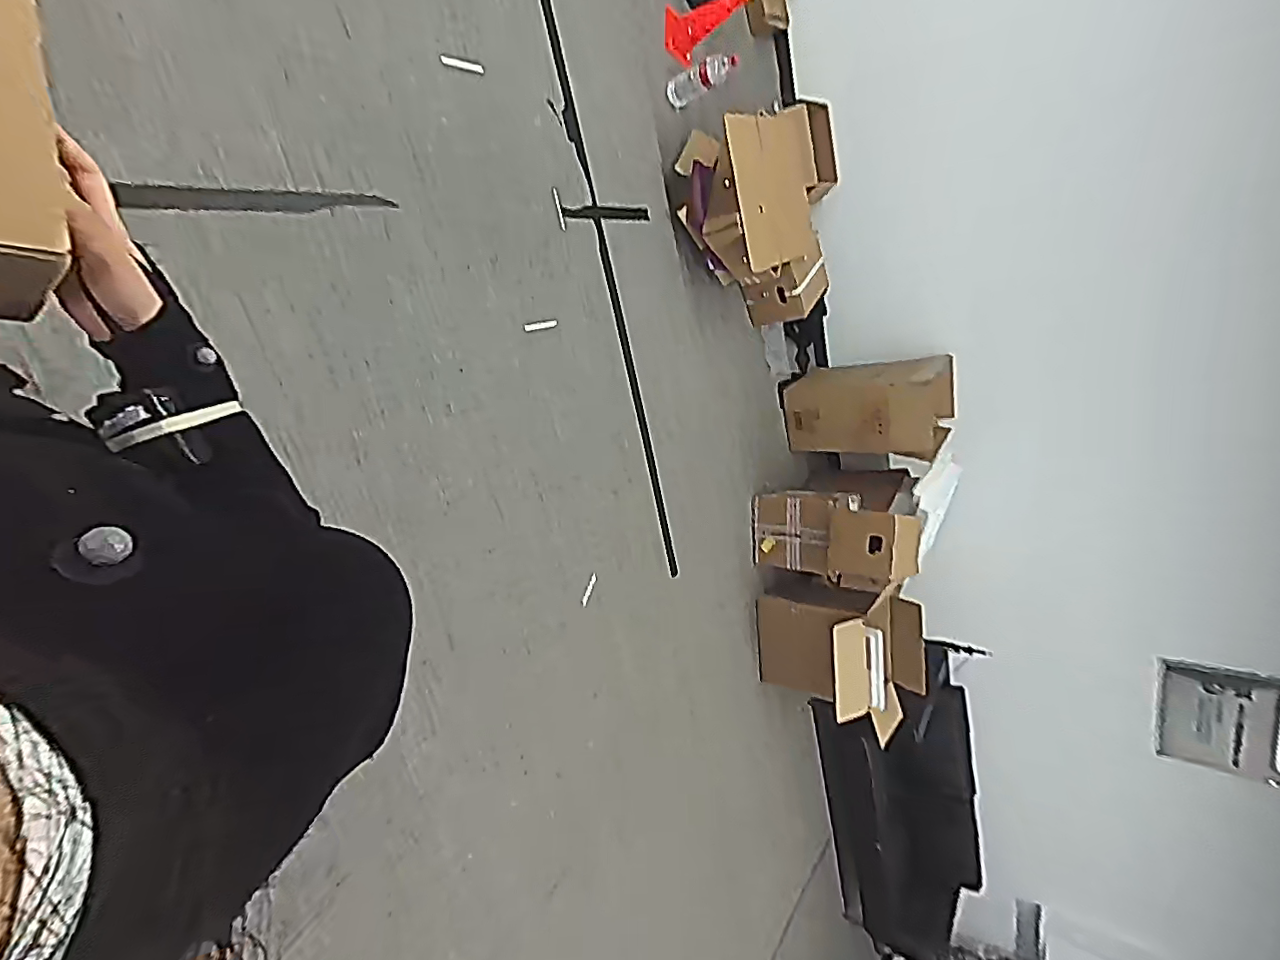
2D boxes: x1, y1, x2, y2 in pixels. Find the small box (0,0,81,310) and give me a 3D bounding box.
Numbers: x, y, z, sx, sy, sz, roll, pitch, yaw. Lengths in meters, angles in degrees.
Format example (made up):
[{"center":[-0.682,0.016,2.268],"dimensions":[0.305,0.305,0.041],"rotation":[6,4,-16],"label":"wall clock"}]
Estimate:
[{"center":[-0.431,-0.198,0.281],"dimensions":[0.168,0.176,0.179],"rotation":[-10,97,-54],"label":"small box"}]
